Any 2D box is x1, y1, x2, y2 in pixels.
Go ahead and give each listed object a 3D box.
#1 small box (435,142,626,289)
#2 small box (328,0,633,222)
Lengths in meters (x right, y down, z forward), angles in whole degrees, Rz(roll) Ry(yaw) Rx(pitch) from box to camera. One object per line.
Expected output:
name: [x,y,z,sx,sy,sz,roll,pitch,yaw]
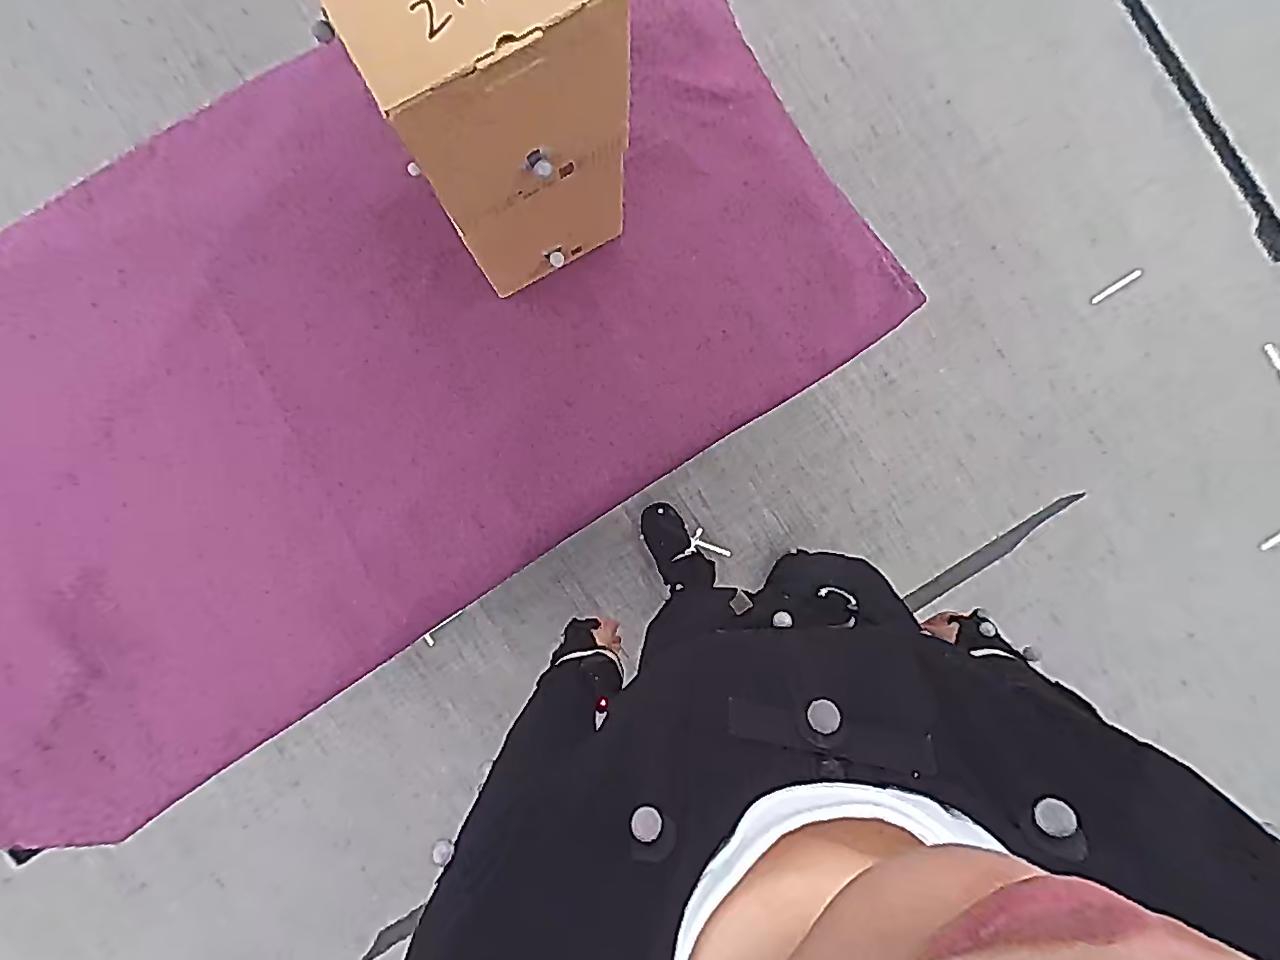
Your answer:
small box: [-0.128,-0.330,0.552,0.168,0.176,0.179,-29,92,-2]
small box: [-0.118,-0.329,0.387,0.168,0.176,0.179,-29,92,-1]
